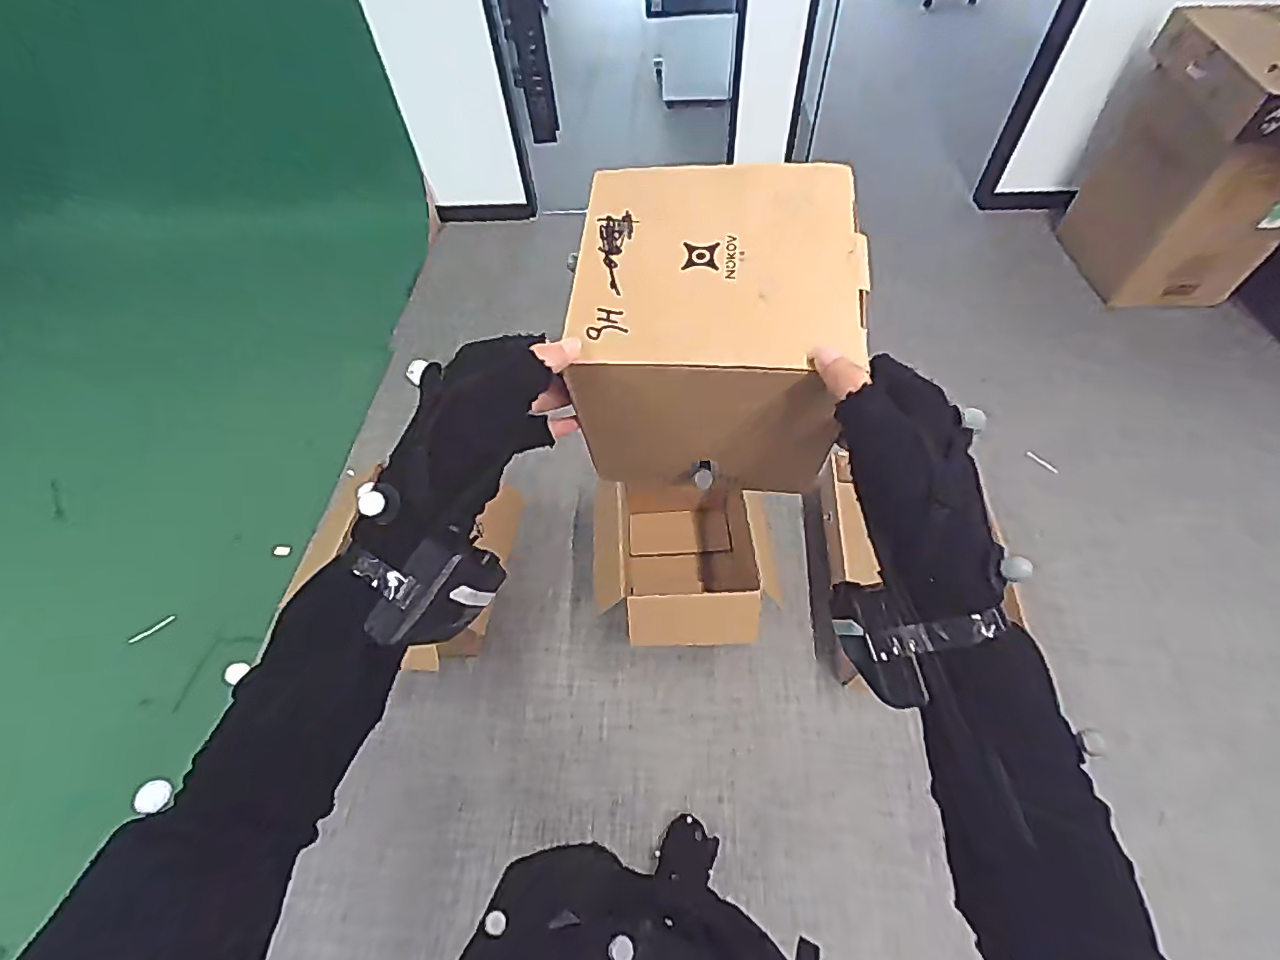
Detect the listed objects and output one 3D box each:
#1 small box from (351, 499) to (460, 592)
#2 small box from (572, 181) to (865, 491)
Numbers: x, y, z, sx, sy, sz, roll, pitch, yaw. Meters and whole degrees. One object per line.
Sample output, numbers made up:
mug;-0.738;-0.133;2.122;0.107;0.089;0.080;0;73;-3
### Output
small box;-0.574;0.168;1.356;0.179;0.176;0.168;5;54;5
small box;0.057;-0.101;0.424;0.179;0.176;0.168;4;64;5
